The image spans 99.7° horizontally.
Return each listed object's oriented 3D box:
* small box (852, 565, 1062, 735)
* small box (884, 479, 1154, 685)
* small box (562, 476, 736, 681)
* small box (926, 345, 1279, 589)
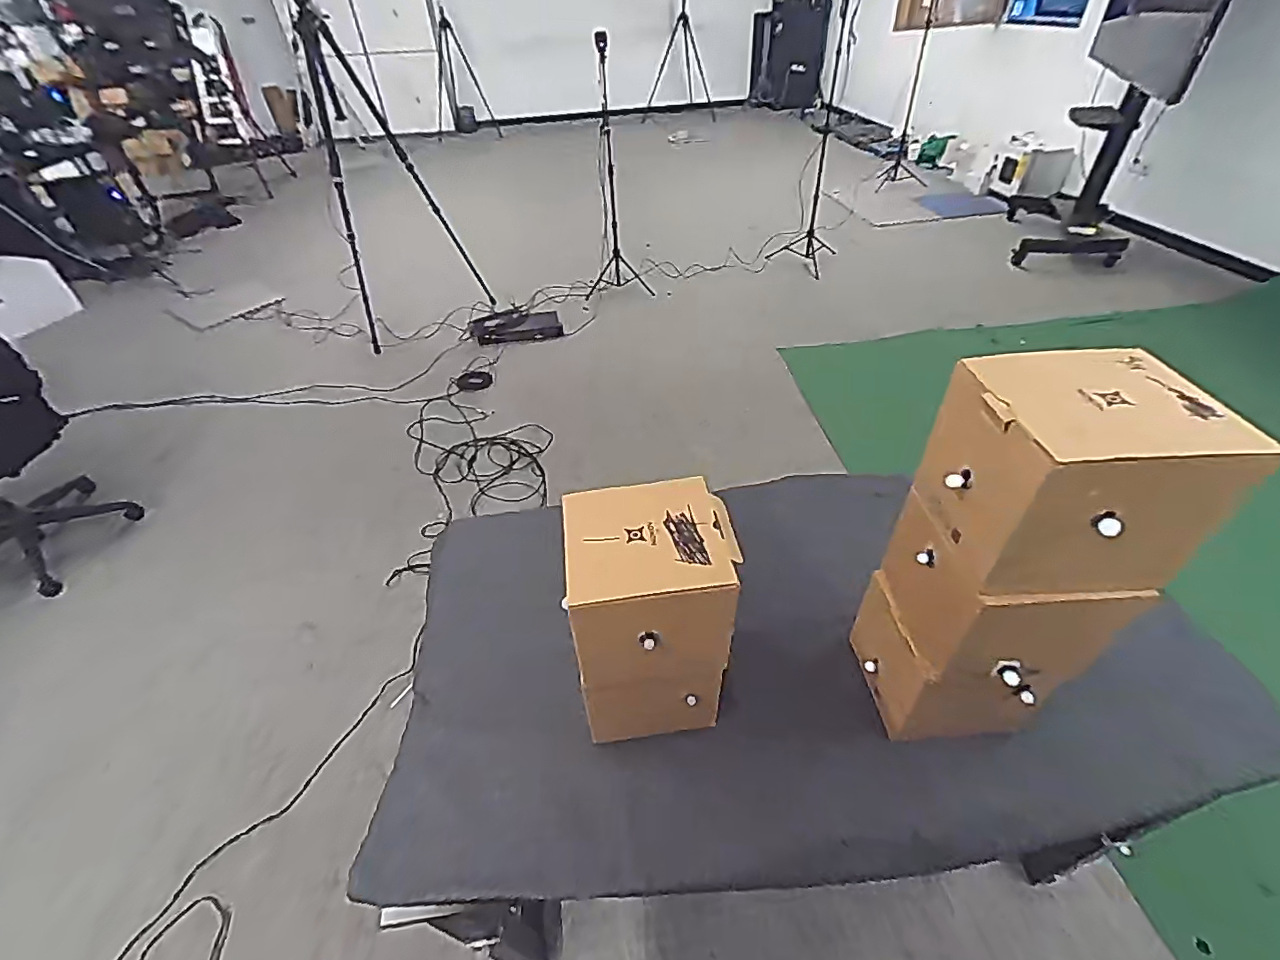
[{"bbox_3d":[0.415,0.228,0.738,0.179,0.176,0.168,-4,41,0],"label":"small box"},{"bbox_3d":[0.406,0.113,0.625,0.168,0.176,0.179,-4,43,2],"label":"small box"},{"bbox_3d":[0.004,0.118,0.647,0.179,0.176,0.168,-7,43,-4],"label":"small box"},{"bbox_3d":[0.398,-0.010,0.516,0.179,0.176,0.168,-3,42,3],"label":"small box"}]
